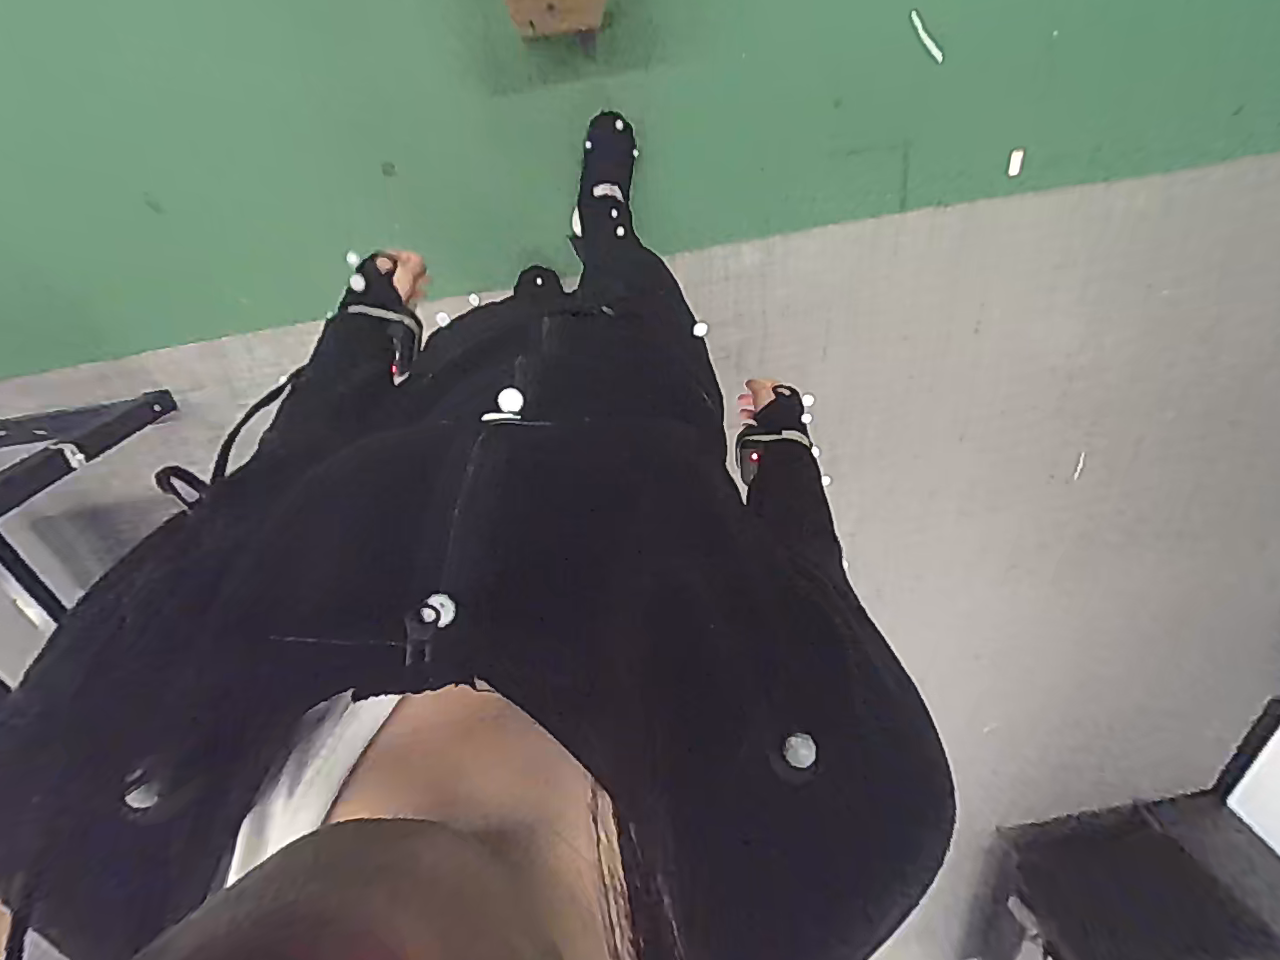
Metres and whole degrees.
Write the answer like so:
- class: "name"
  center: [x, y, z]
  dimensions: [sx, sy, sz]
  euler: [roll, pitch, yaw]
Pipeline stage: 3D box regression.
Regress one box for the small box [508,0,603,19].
- class: "small box"
  center: [-0.144, -0.847, 0.827]
  dimensions: [0.168, 0.176, 0.179]
  euler: [-10, 120, -2]
